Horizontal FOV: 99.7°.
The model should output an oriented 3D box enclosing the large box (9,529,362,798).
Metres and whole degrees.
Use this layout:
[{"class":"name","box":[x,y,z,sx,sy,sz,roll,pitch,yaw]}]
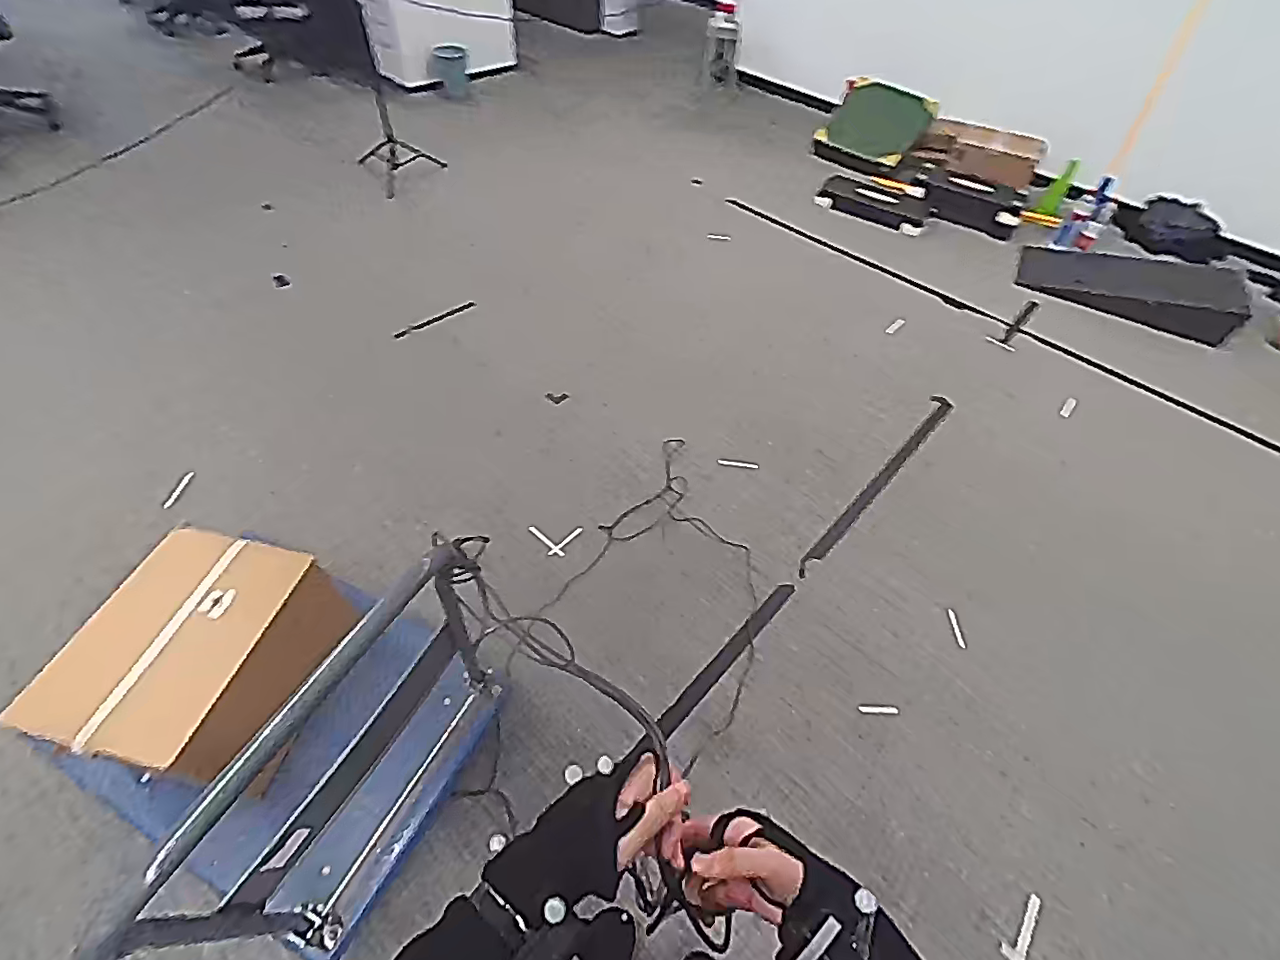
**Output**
[{"class":"large box","box":[-0.858,0.373,1.106,0.320,0.320,0.408,12,51,4]}]
